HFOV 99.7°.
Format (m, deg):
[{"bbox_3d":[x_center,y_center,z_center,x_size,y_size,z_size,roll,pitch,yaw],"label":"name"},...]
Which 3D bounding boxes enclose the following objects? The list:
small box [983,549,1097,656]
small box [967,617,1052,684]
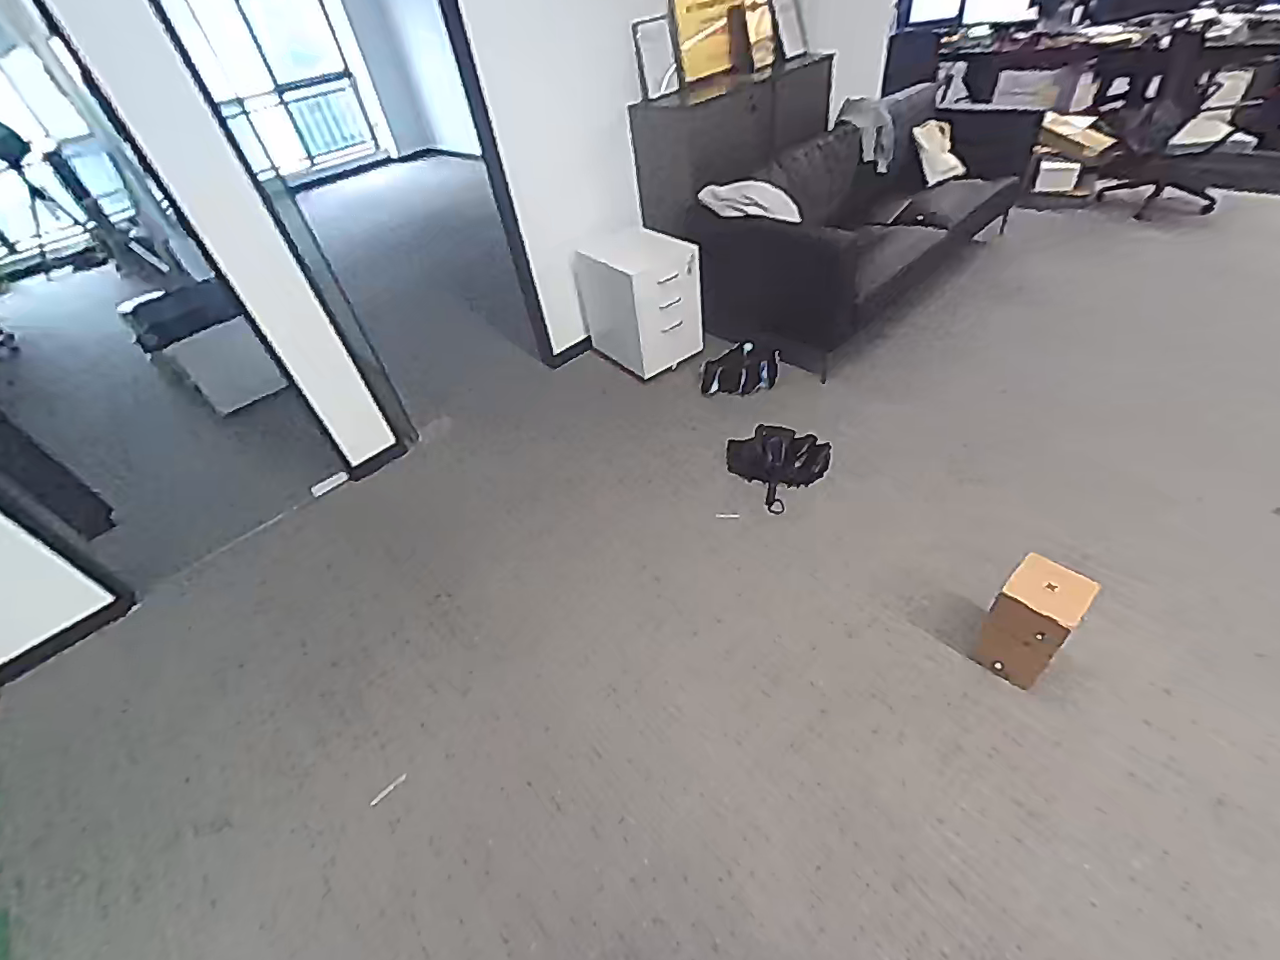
[{"bbox_3d":[1.032,0.321,1.409,0.179,0.176,0.168,-36,50,-26],"label":"small box"},{"bbox_3d":[1.056,0.434,1.523,0.179,0.176,0.168,-38,50,-25],"label":"small box"}]
